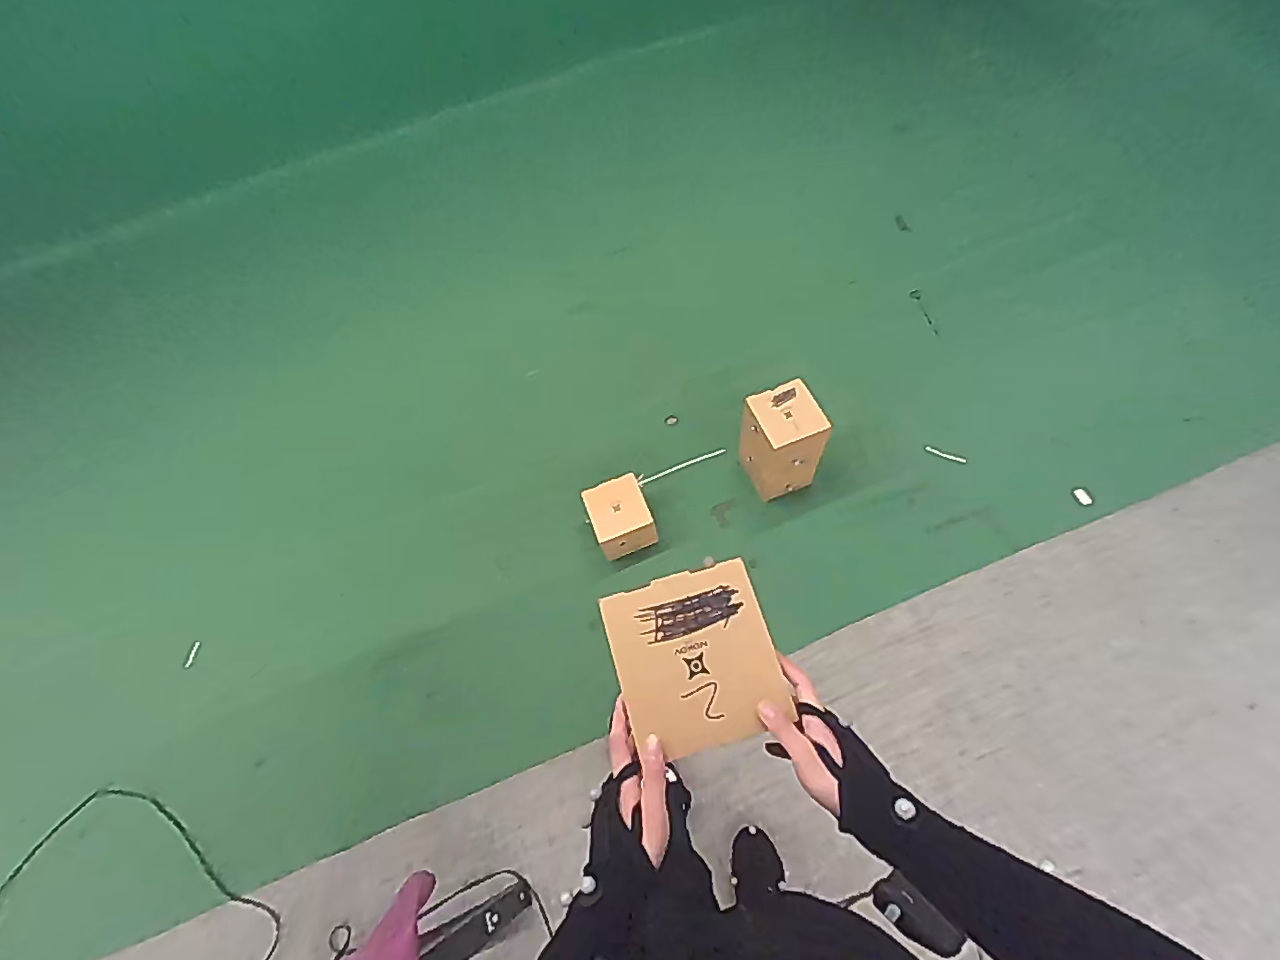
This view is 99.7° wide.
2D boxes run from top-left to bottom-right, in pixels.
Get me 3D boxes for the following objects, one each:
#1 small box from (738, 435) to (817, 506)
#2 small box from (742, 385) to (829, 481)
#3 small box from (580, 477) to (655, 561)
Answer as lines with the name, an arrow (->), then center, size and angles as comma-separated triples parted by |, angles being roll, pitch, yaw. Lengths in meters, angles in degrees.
small box -> 0.408, -0.050, 1.645 | 0.168, 0.176, 0.179 | -20, 62, -4
small box -> 0.394, -0.127, 1.500 | 0.168, 0.176, 0.179 | -21, 63, -4
small box -> -0.061, 0.126, 1.610 | 0.168, 0.176, 0.179 | -21, 61, -4
